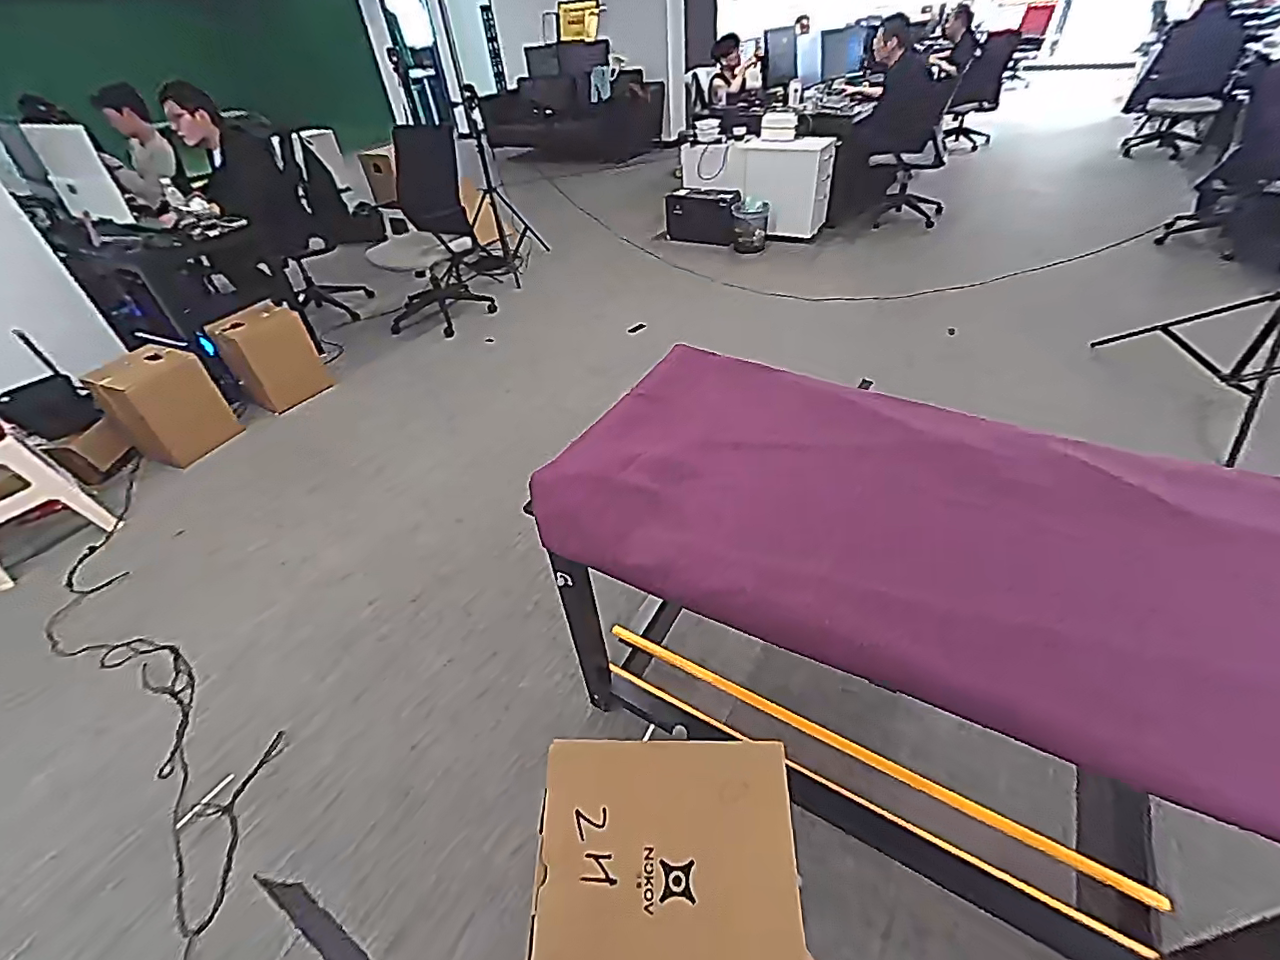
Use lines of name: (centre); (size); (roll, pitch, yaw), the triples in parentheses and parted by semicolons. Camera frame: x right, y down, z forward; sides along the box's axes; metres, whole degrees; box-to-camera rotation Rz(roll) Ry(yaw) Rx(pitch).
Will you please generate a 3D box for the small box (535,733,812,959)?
small box: (0.028, 0.303, 0.428); (0.179, 0.176, 0.168); (-2, 57, 6)
